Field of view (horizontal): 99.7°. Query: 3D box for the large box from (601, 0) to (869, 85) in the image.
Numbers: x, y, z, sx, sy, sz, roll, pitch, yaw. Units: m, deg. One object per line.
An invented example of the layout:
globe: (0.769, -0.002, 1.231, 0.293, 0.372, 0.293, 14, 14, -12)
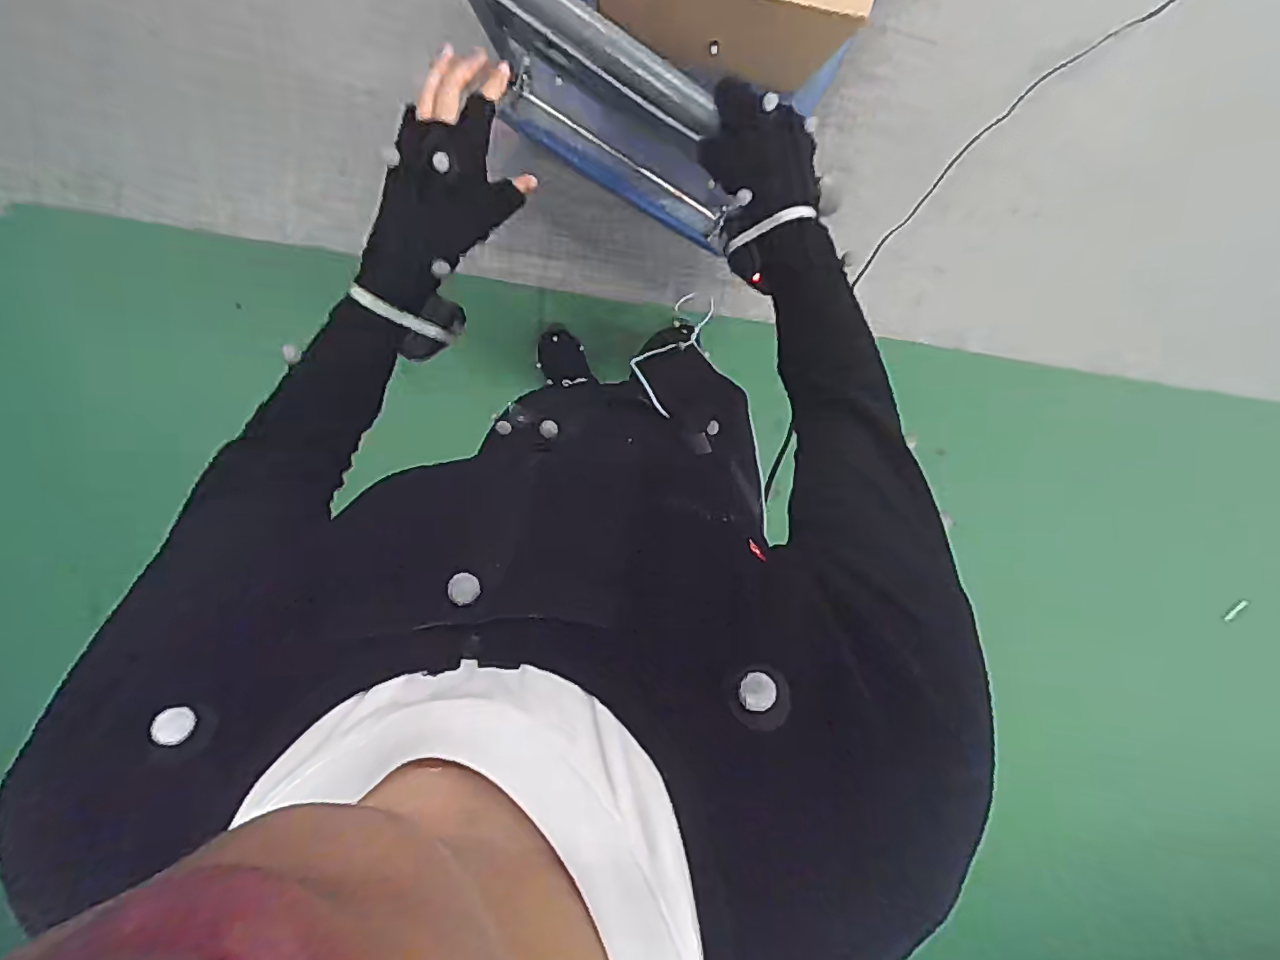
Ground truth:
large box: (0.153, -0.898, 0.881, 0.408, 0.320, 0.320, 6, 108, -5)
